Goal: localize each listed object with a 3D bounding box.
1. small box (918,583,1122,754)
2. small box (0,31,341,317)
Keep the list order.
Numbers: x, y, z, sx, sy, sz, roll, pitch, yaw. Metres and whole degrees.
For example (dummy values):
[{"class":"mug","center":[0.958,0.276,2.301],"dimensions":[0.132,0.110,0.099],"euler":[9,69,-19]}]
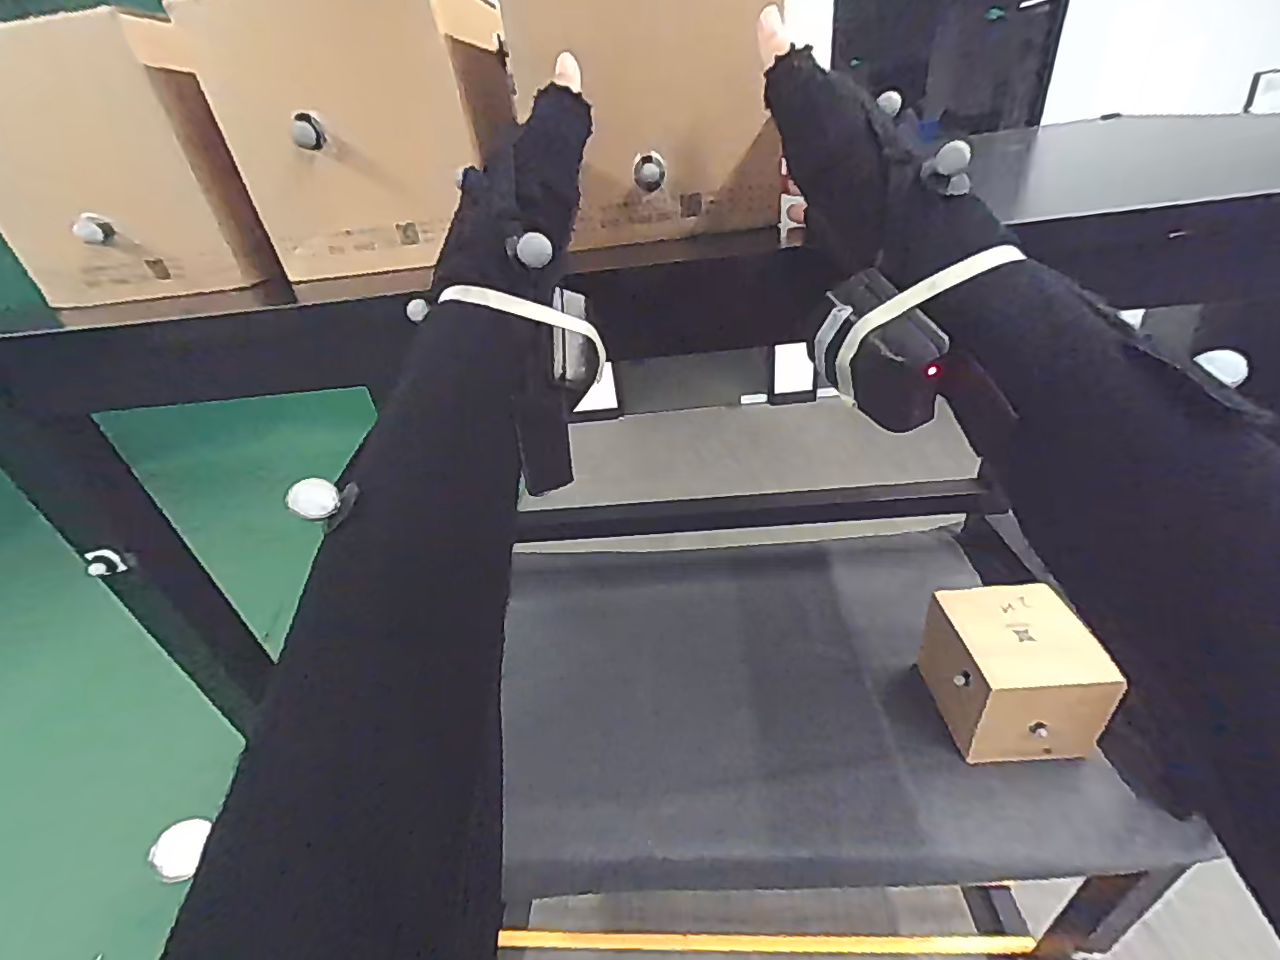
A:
[{"class":"small box","center":[0.531,0.277,0.787],"dimensions":[0.168,0.176,0.179],"euler":[-5,32,4]},{"class":"small box","center":[-0.386,-0.247,0.452],"dimensions":[0.168,0.176,0.179],"euler":[-5,34,5]}]
